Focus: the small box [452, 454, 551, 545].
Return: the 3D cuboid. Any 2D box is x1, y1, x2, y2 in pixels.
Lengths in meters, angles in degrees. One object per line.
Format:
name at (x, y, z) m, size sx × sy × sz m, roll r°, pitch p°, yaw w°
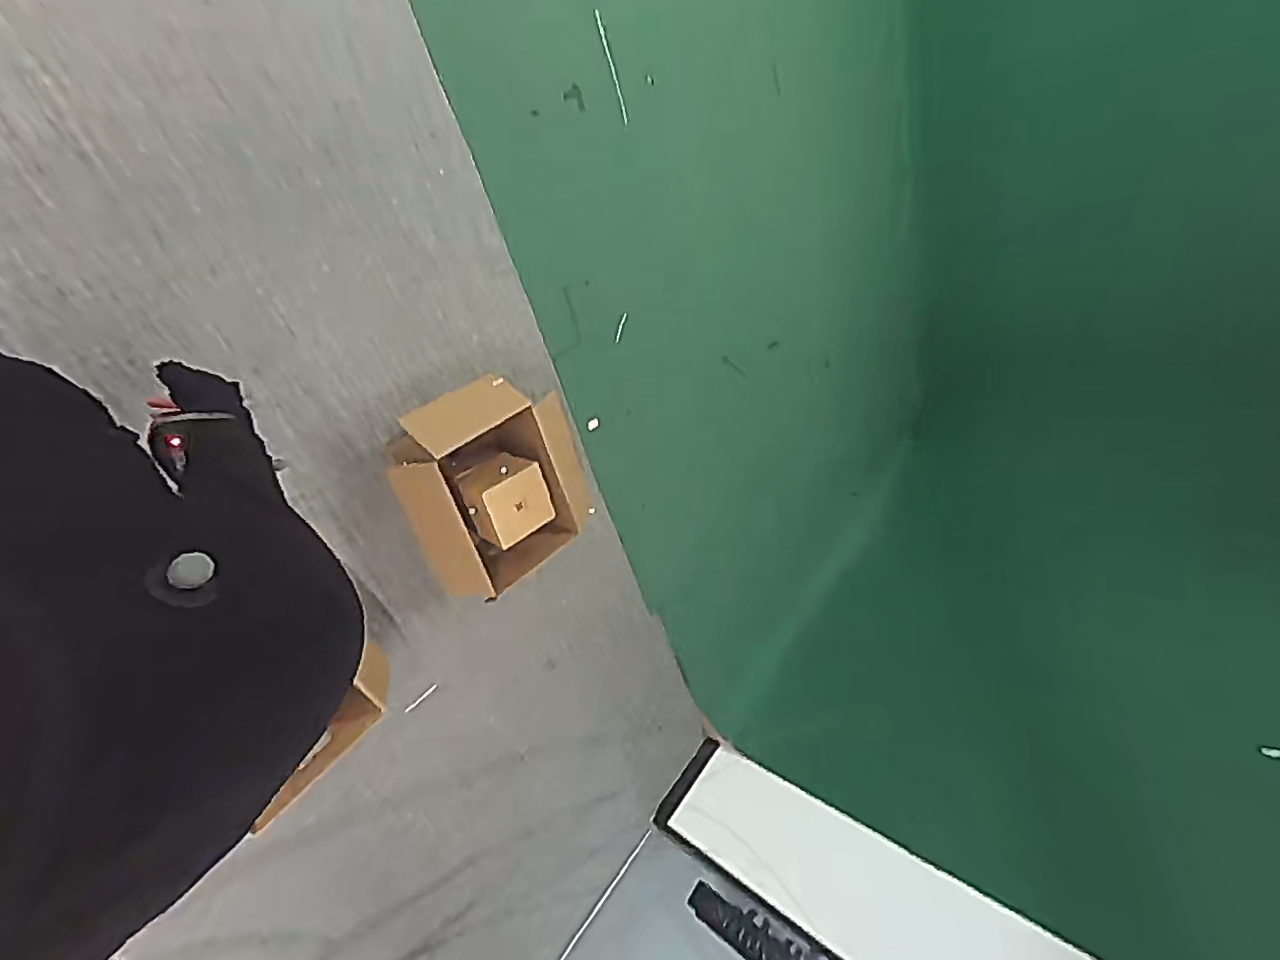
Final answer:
small box at (-0.371, 0.045, 1.429) m, size 0.179 × 0.176 × 0.168 m, roll -36°, pitch 122°, yaw -36°
